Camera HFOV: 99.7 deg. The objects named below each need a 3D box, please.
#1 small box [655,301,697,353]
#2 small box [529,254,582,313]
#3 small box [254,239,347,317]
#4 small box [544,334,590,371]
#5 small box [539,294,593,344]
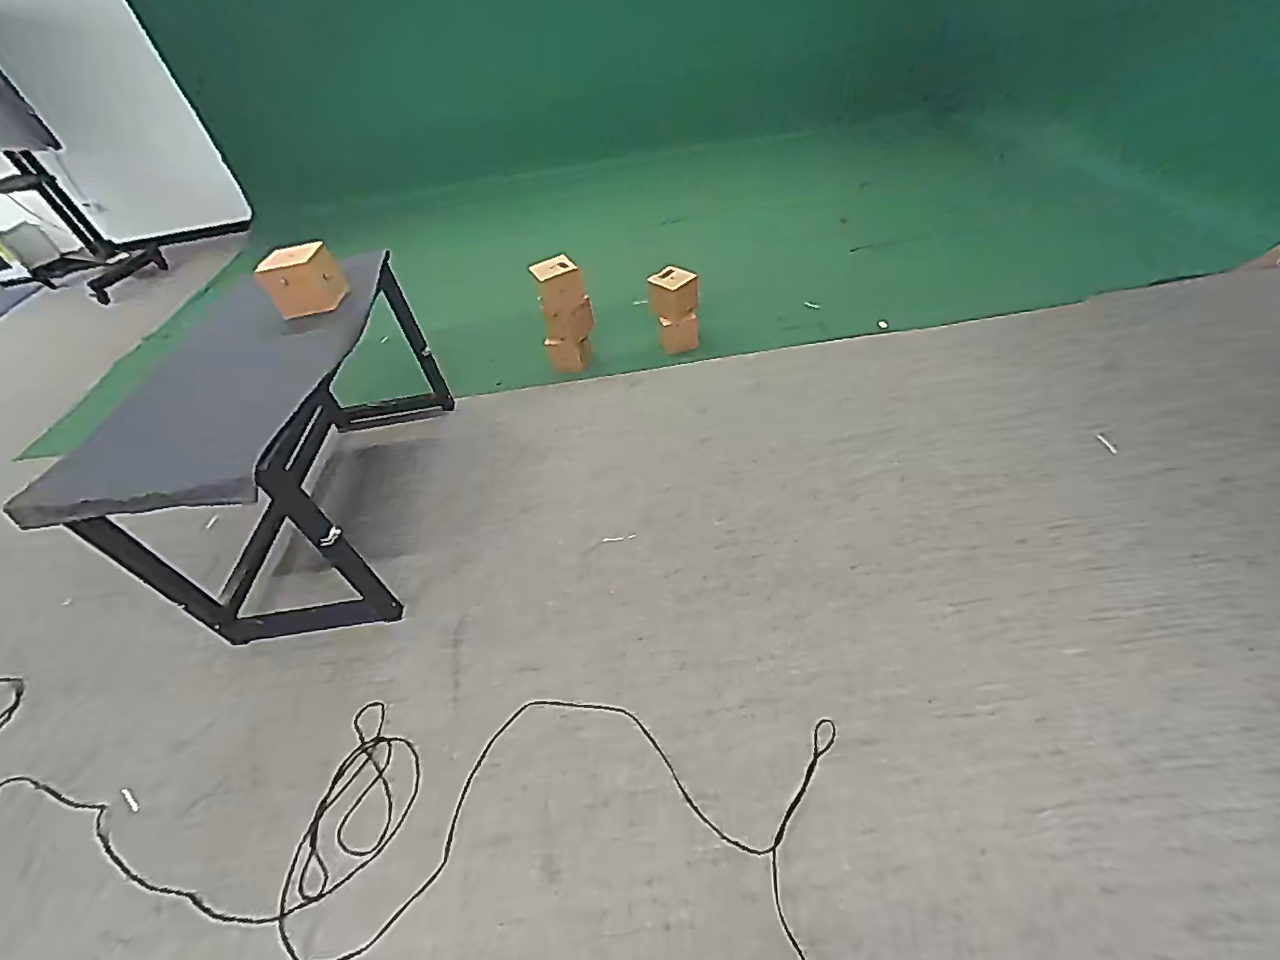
[{"bbox_3d":[0.177,-0.747,2.649,0.168,0.176,0.179,-14,45,-4],"label":"small box"},{"bbox_3d":[-0.368,-0.873,2.409,0.179,0.176,0.168,-25,49,-13],"label":"small box"},{"bbox_3d":[-1.102,-0.661,1.777,0.179,0.176,0.168,-10,46,3],"label":"small box"},{"bbox_3d":[-0.351,-0.652,2.649,0.168,0.176,0.179,5,48,13],"label":"small box"},{"bbox_3d":[-0.339,-0.762,2.527,0.168,0.176,0.179,22,53,25],"label":"small box"}]
